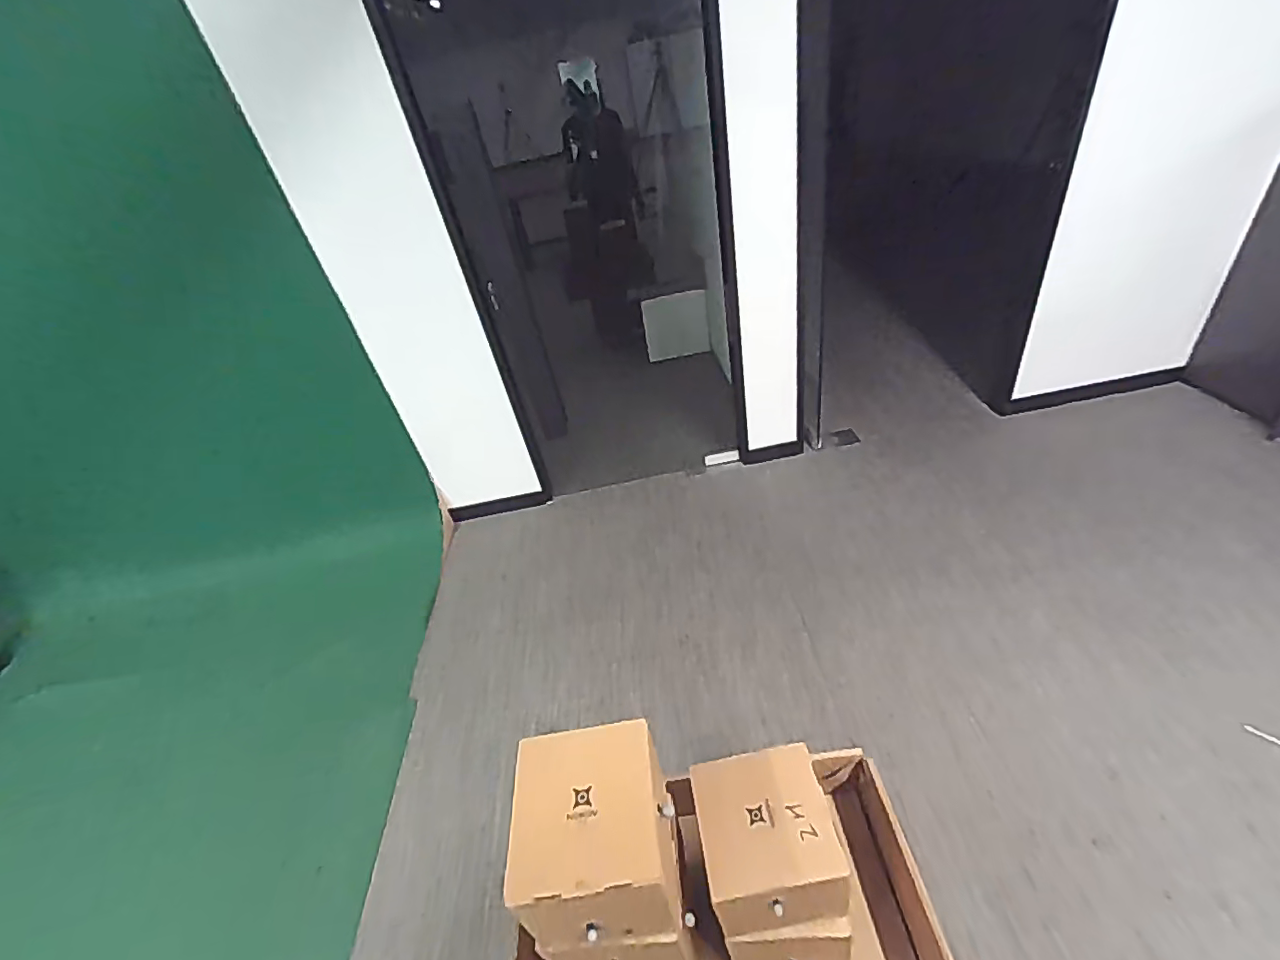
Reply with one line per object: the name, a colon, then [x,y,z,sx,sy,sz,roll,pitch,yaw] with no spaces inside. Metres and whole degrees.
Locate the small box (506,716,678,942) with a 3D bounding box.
small box: [-0.051,0.423,0.661,0.168,0.176,0.179,-10,37,2]
